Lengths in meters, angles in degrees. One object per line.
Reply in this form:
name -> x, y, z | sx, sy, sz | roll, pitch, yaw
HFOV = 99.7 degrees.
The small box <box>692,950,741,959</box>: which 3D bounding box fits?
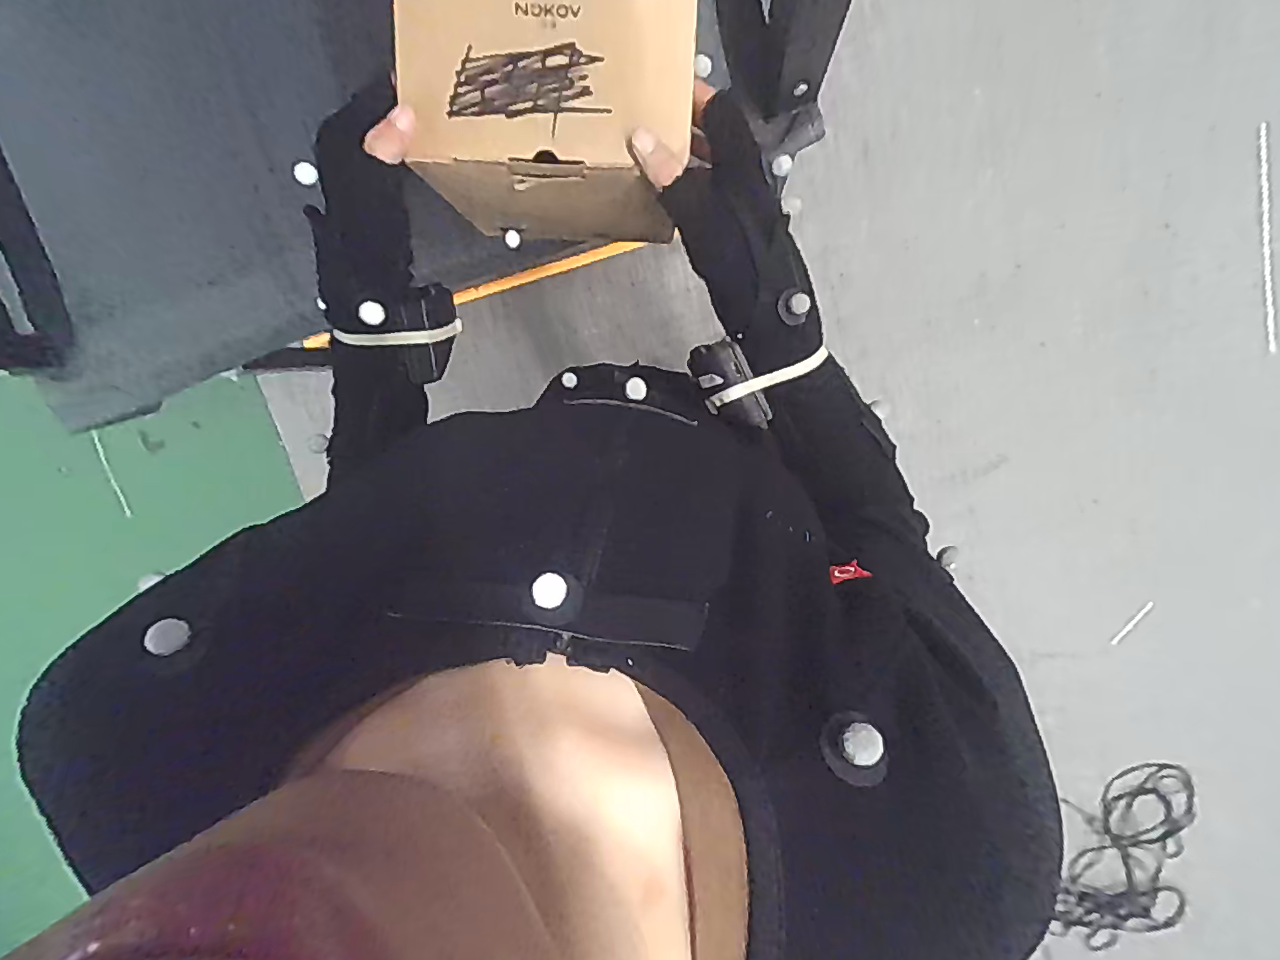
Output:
small box -> 0.264, 1.702, 1.778 | 0.168, 0.176, 0.179 | -11, 101, 11
